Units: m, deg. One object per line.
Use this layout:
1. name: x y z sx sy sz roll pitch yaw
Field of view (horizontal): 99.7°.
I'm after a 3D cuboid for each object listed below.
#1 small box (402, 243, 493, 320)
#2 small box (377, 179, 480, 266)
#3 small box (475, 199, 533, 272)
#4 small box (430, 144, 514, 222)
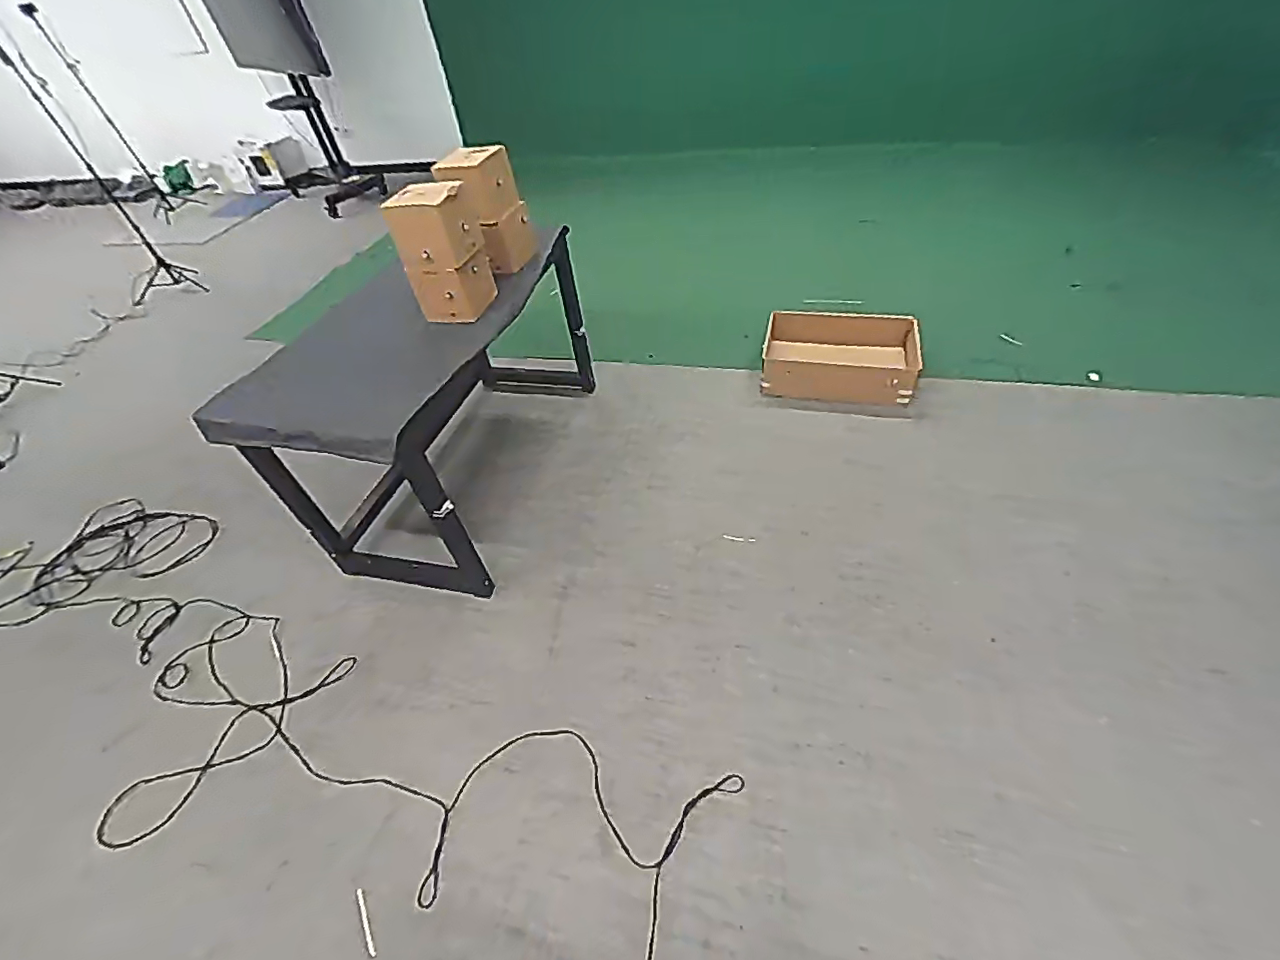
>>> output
1. small box: -0.557 -0.589 1.598 0.168 0.176 0.179 6 46 13
2. small box: -0.565 -0.700 1.476 0.179 0.176 0.168 6 48 14
3. small box: -0.474 -0.816 1.800 0.168 0.176 0.179 9 49 18
4. small box: -0.509 -0.921 1.678 0.168 0.176 0.179 8 49 17
